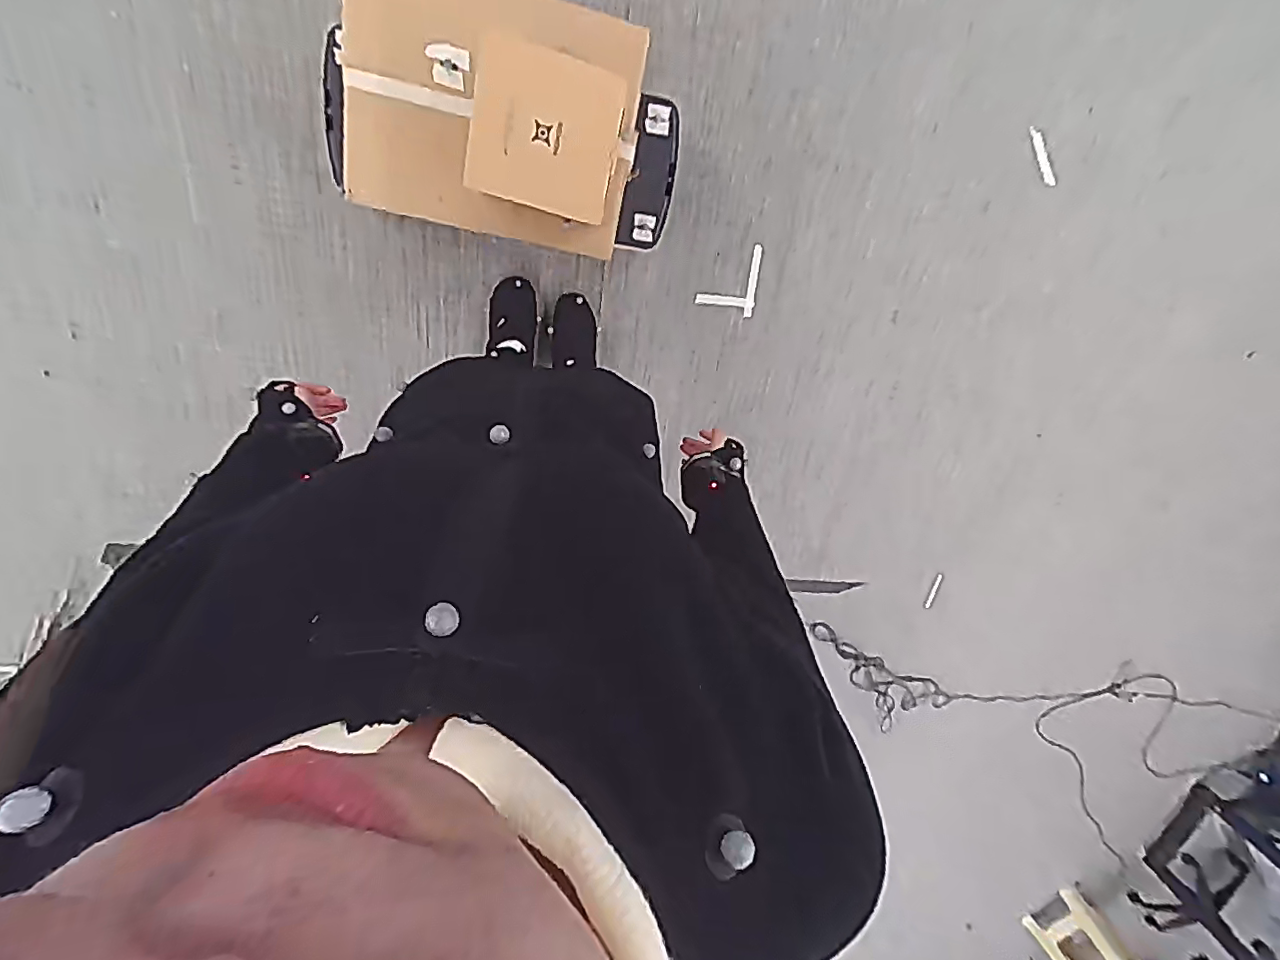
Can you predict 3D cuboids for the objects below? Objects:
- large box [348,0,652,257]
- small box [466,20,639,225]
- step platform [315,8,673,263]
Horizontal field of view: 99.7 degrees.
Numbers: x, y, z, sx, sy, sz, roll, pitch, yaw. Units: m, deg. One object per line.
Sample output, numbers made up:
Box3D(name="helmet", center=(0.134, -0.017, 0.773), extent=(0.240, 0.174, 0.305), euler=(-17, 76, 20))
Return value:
Box3D(name="large box", center=(-0.219, -0.579, 0.905), extent=(0.408, 0.320, 0.320), euler=(9, 112, -11))
Box3D(name="small box", center=(-0.114, -0.448, 0.708), extent=(0.179, 0.176, 0.168), euler=(12, 112, -13))
Box3D(name="step platform", center=(-0.276, -0.675, 1.117), extent=(0.684, 0.204, 0.286), euler=(11, 112, -12))
